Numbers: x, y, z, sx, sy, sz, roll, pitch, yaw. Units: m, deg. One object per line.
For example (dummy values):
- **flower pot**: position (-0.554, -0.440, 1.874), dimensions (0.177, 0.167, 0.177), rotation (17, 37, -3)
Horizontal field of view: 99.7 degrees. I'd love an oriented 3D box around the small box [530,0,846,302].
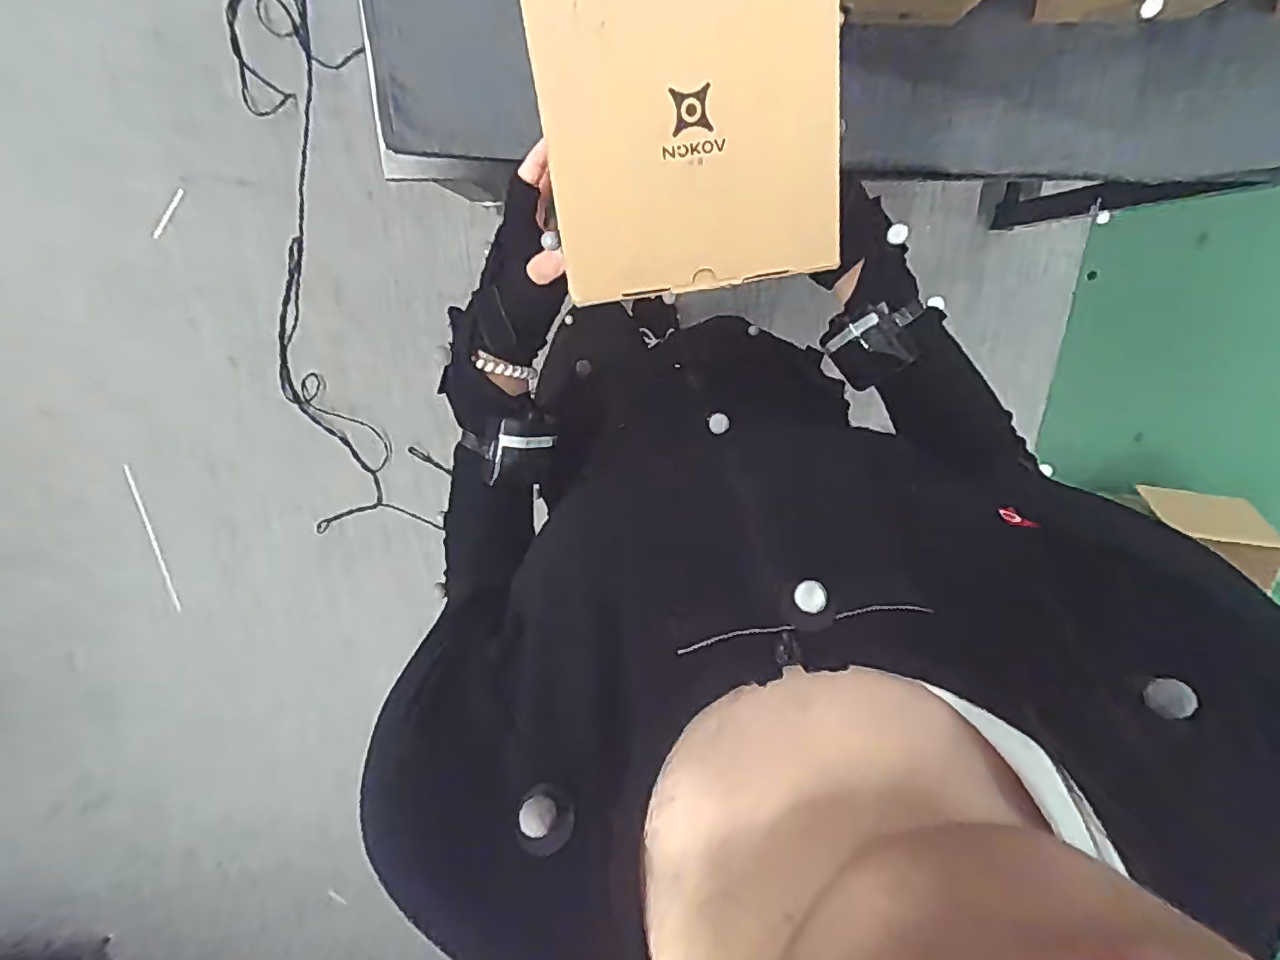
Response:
- **small box**: position (0.027, -0.224, 0.371), dimensions (0.168, 0.176, 0.179), rotation (-9, 111, 0)
